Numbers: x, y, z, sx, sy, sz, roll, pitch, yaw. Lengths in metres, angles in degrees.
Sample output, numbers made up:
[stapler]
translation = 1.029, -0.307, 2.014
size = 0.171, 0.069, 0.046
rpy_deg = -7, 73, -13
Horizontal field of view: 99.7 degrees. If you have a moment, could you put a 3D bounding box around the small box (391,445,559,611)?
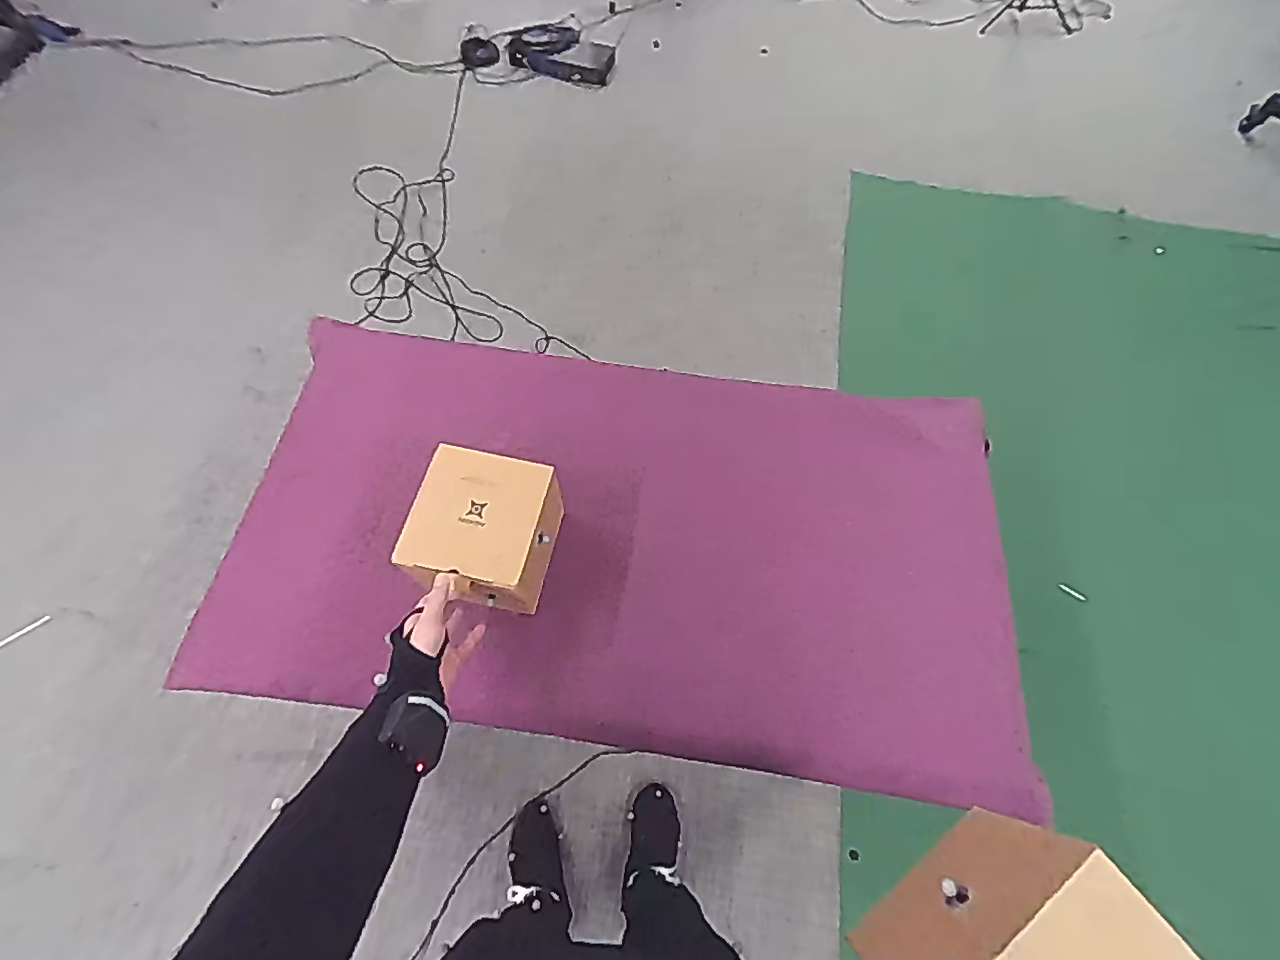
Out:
[small box]
translation = -0.221, 0.078, 0.784
size = 0.168, 0.176, 0.179
rpy_deg = 13, 65, 2
